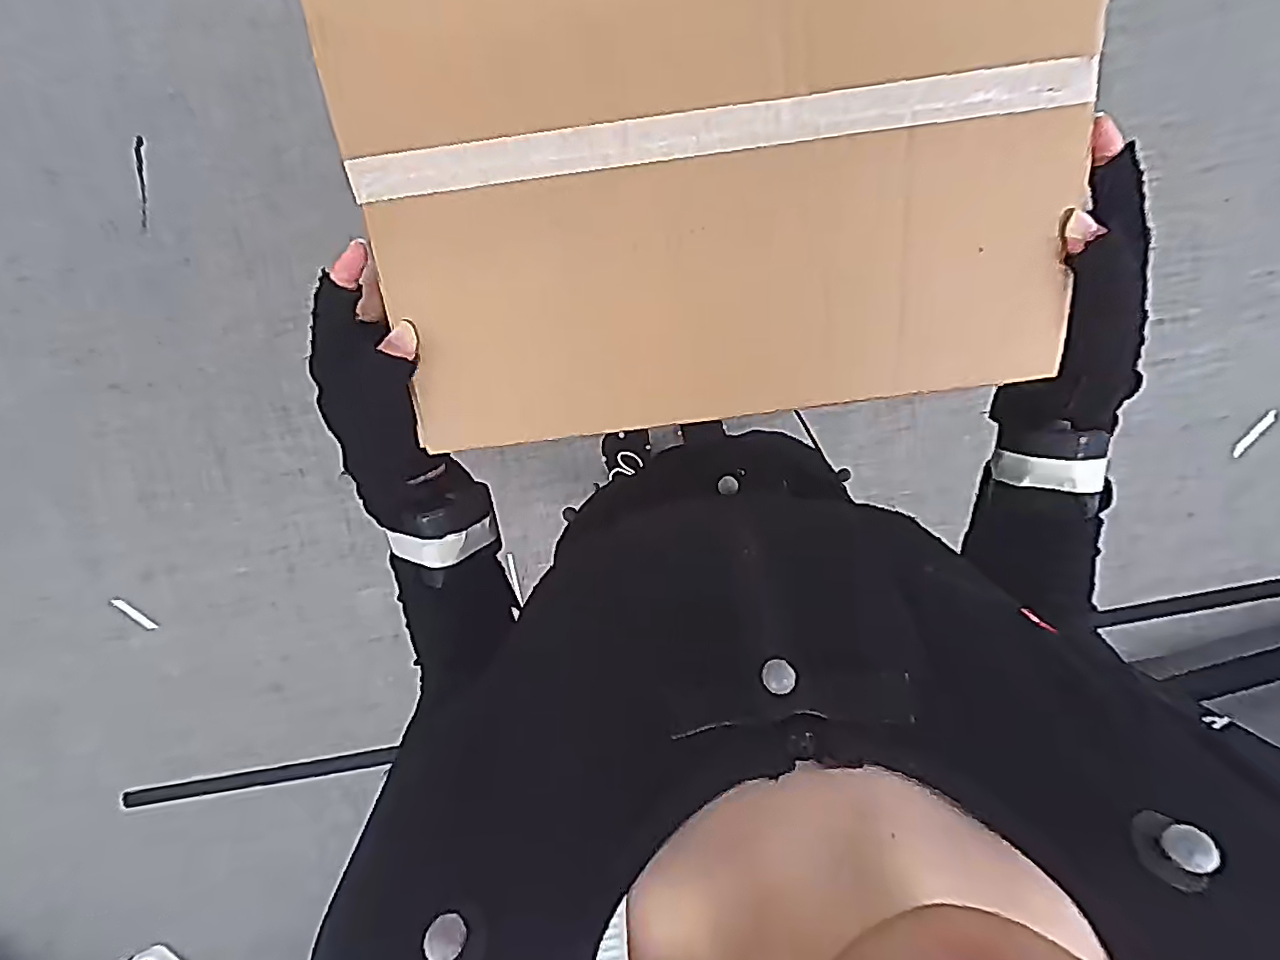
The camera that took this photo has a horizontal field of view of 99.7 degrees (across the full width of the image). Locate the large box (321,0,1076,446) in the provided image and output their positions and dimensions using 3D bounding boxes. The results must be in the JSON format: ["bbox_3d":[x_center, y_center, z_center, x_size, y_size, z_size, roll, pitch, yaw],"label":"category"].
[{"bbox_3d":[0.036,-0.238,0.449,0.408,0.320,0.320,-7,109,1],"label":"large box"}]
